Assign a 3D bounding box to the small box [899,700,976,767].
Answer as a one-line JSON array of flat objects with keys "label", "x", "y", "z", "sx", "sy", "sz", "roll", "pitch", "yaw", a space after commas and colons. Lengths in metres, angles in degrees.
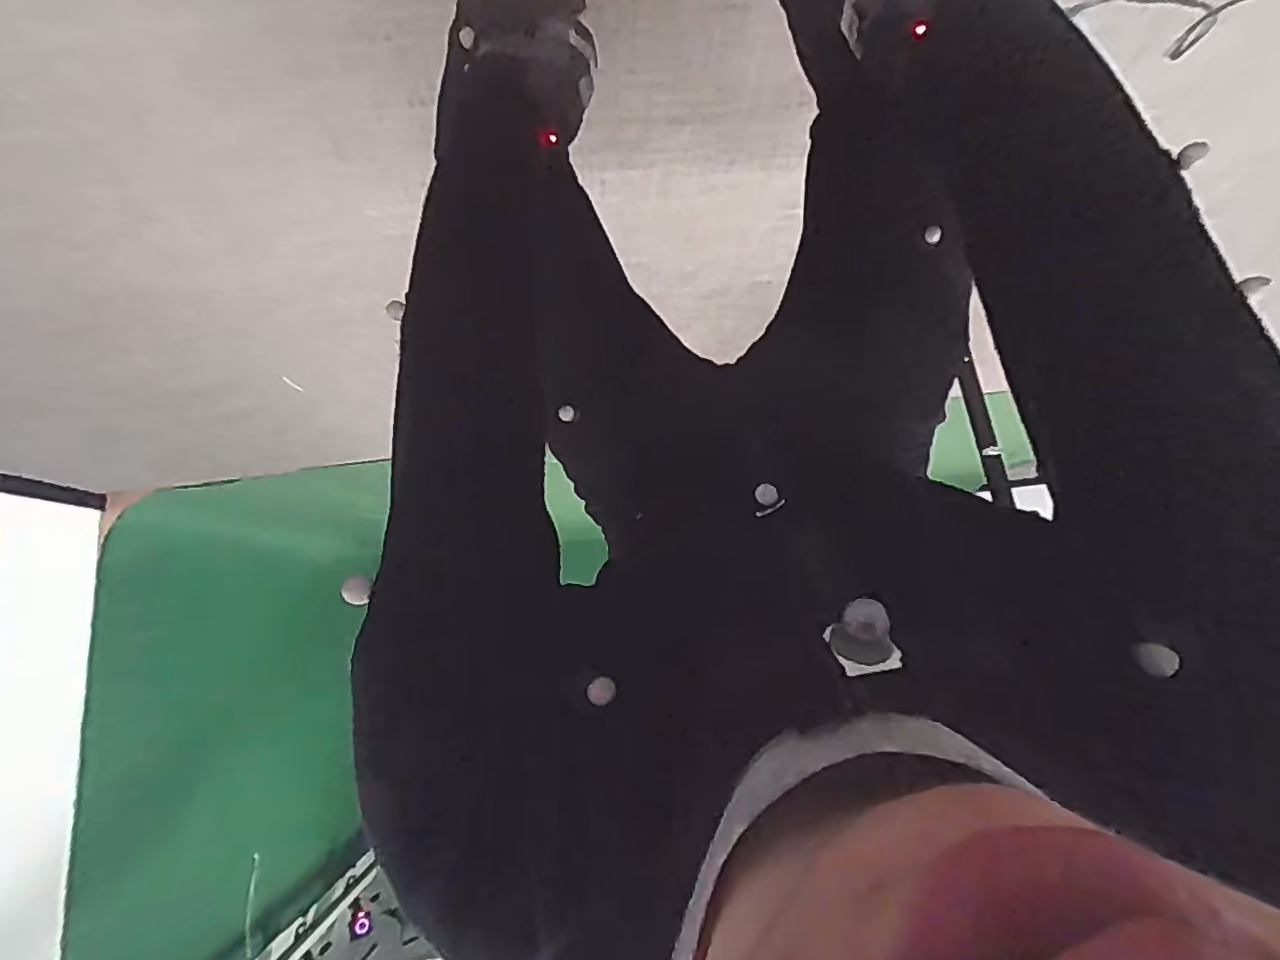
[{"label": "small box", "x": 1.057, "y": 0.902, "z": 1.937, "sx": 0.168, "sy": 0.176, "sz": 0.179, "roll": -8, "pitch": 168, "yaw": 1}]
